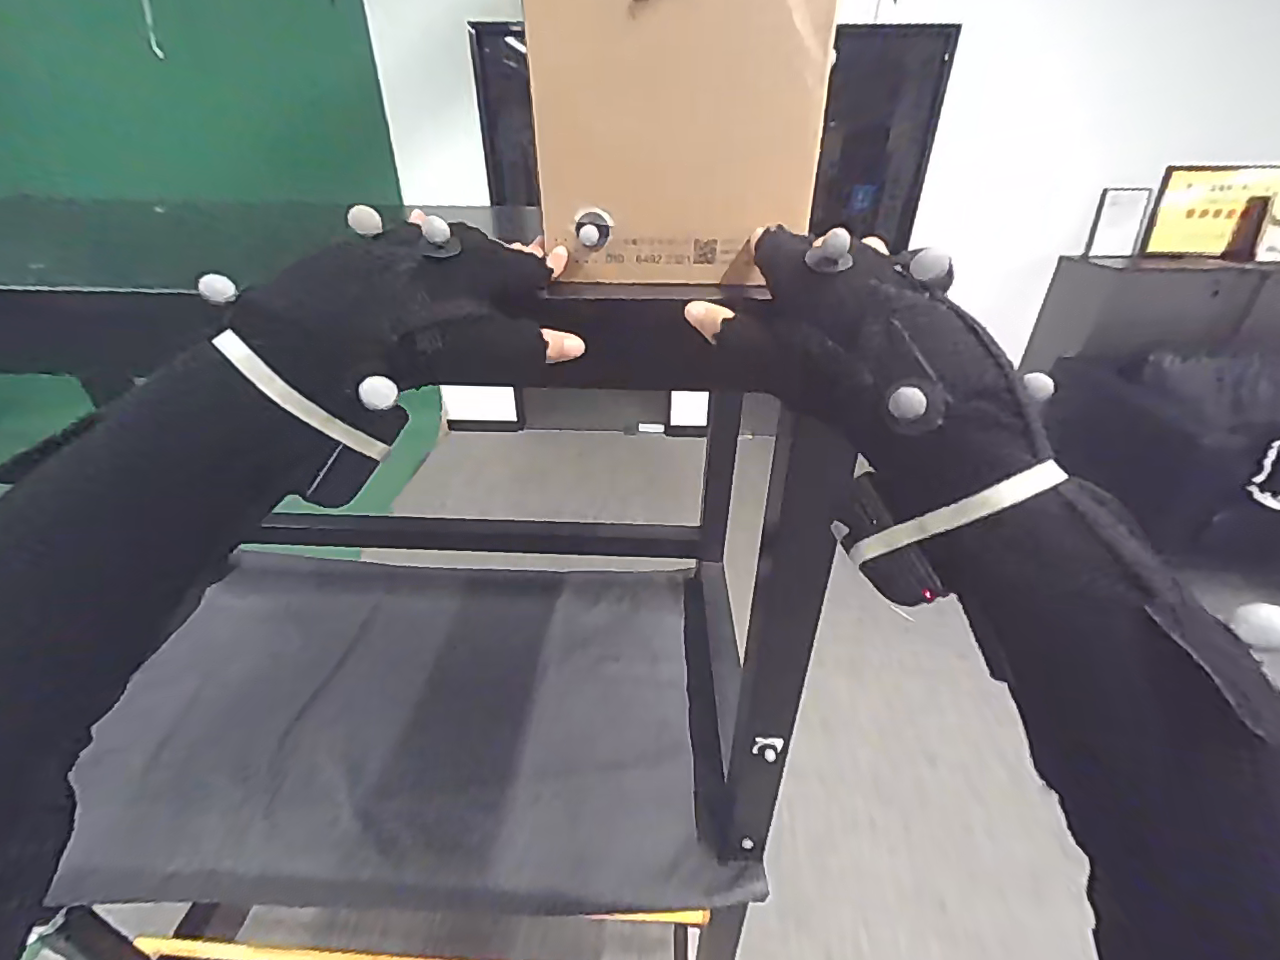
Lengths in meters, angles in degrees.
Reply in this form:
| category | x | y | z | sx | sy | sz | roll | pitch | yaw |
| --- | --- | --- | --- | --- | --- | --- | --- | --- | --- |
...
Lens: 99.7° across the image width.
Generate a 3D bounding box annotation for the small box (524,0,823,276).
| category | x | y | z | sx | sy | sz | roll | pitch | yaw |
| --- | --- | --- | --- | --- | --- | --- | --- | --- | --- |
| small box | 0.029 | -0.247 | 0.388 | 0.168 | 0.176 | 0.179 | 4 | 30 | 6 |
